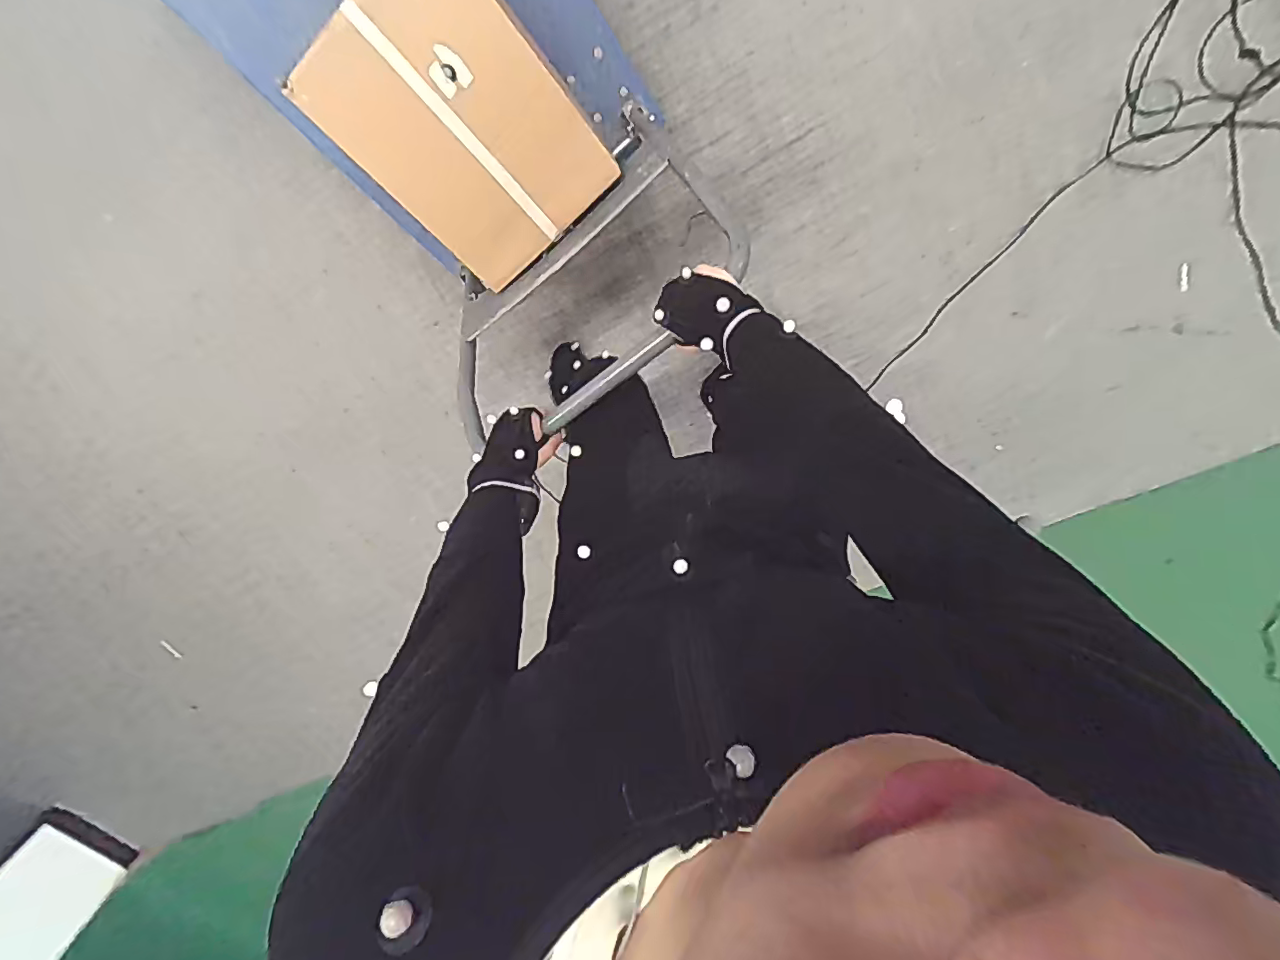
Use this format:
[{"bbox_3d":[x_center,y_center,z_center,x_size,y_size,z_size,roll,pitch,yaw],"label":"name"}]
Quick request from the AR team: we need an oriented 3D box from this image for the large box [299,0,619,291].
[{"bbox_3d":[-0.291,-0.637,0.980,0.320,0.320,0.408,-36,127,19],"label":"large box"}]
